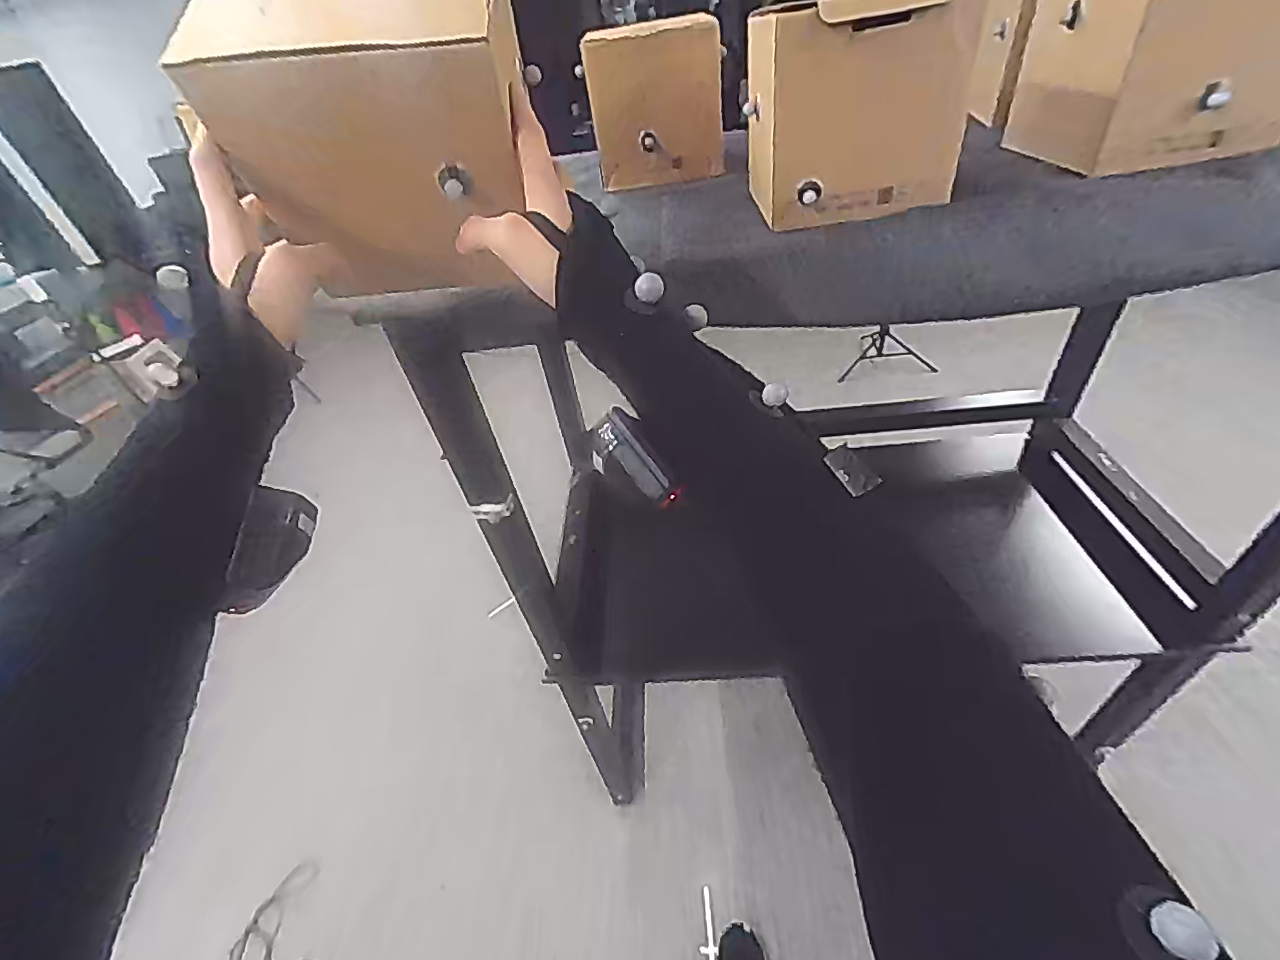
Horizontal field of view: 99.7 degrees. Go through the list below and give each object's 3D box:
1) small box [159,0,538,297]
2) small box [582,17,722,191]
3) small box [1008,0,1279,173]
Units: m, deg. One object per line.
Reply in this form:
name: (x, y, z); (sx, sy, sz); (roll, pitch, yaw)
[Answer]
small box: (-0.171, -0.255, 0.389); (0.179, 0.176, 0.168); (-5, 63, -2)
small box: (0.021, -0.519, 0.749); (0.168, 0.176, 0.179); (-6, 42, 4)
small box: (0.504, -0.416, 0.530); (0.168, 0.176, 0.179); (-6, 40, 6)
